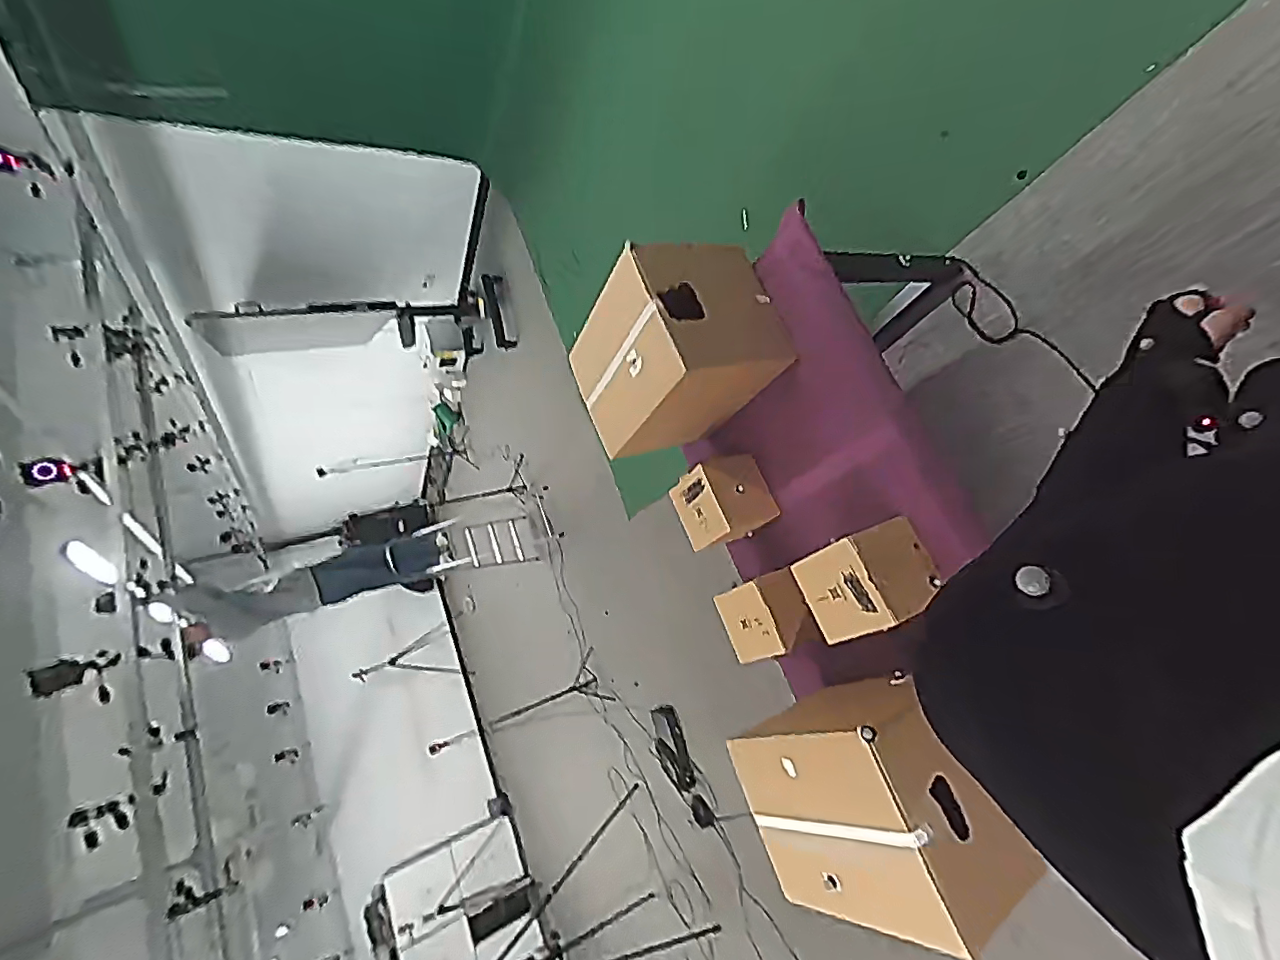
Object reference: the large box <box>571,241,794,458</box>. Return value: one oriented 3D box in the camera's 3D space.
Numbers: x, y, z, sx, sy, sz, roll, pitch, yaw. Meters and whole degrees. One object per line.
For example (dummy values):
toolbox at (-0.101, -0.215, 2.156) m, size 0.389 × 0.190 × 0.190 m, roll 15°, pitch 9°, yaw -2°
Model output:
large box at (0.080, -0.297, 1.290) m, size 0.408 × 0.320 × 0.320 m, roll -44°, pitch 65°, yaw 54°
